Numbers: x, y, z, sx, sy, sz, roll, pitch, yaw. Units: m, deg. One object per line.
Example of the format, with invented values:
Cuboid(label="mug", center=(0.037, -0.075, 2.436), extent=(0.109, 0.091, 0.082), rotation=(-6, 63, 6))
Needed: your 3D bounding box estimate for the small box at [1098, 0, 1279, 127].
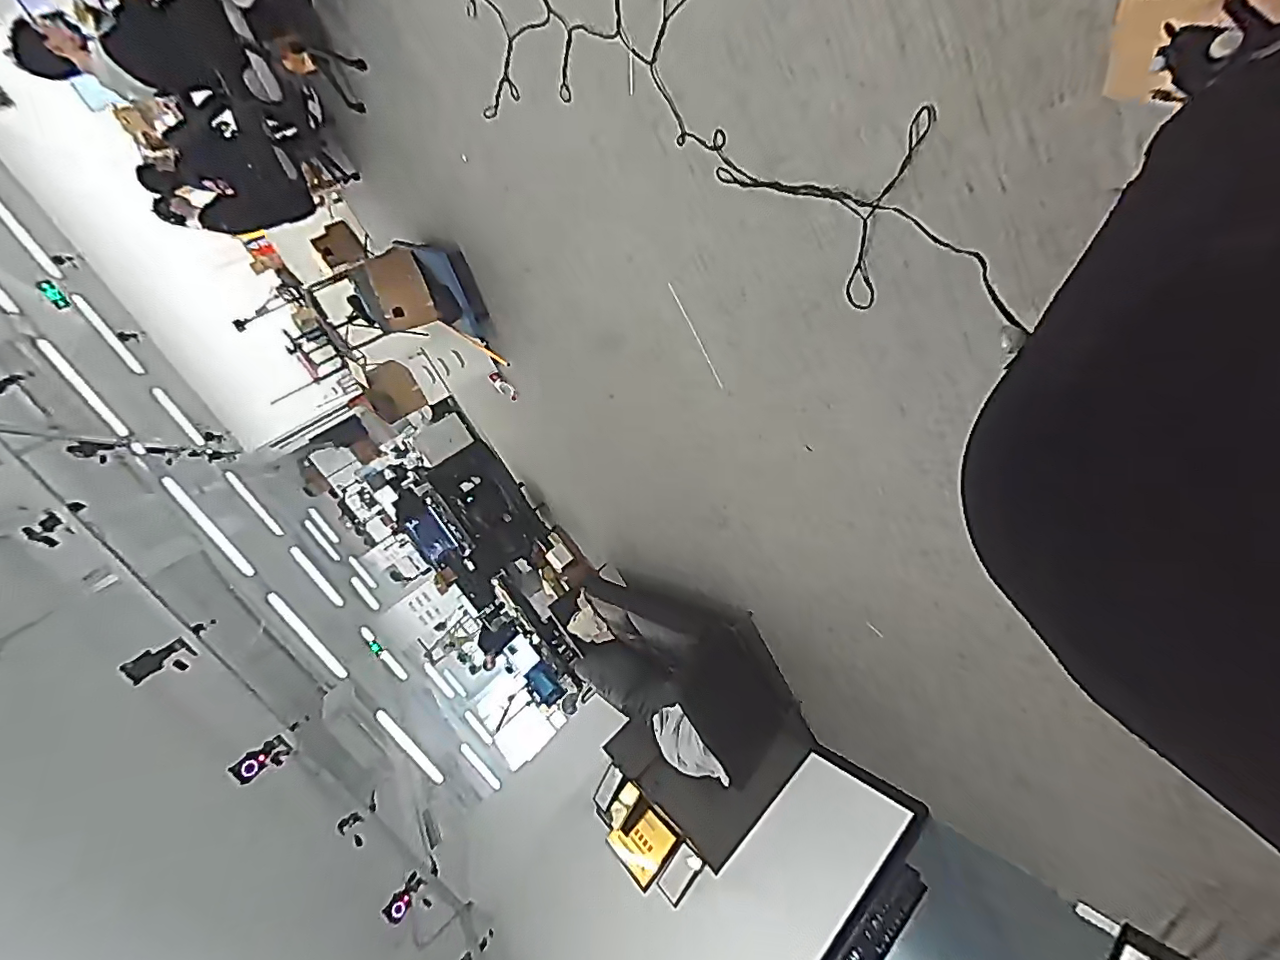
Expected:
Cuboid(label="small box", center=(0.562, -0.459, 0.479), extent=(0.168, 0.179, 0.176), rotation=(36, 111, 29))
